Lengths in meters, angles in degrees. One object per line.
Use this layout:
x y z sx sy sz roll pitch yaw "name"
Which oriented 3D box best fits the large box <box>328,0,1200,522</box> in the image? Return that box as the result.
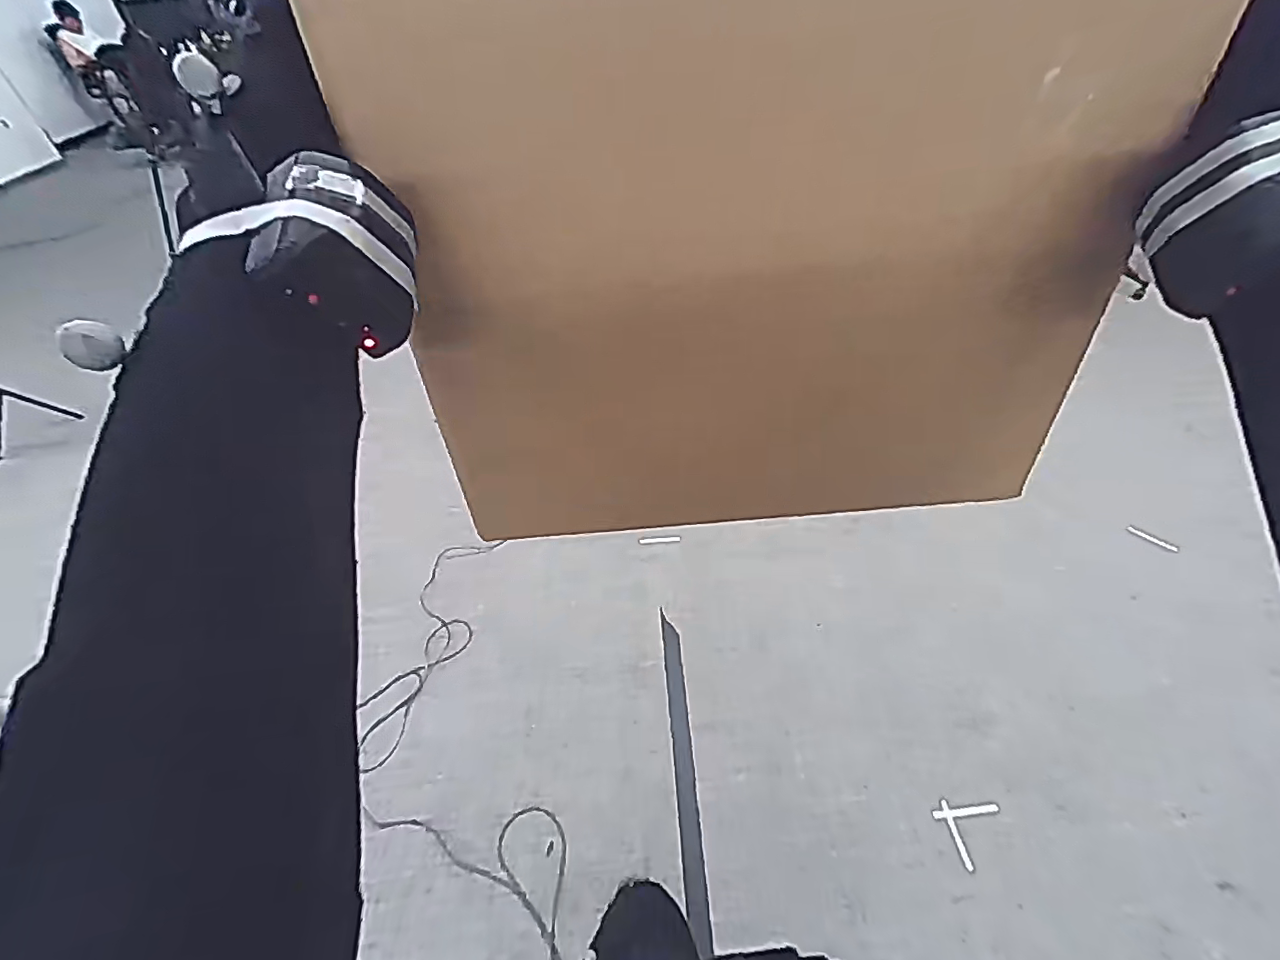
0.060 -0.190 0.437 0.408 0.320 0.320 -4 38 0 "large box"
